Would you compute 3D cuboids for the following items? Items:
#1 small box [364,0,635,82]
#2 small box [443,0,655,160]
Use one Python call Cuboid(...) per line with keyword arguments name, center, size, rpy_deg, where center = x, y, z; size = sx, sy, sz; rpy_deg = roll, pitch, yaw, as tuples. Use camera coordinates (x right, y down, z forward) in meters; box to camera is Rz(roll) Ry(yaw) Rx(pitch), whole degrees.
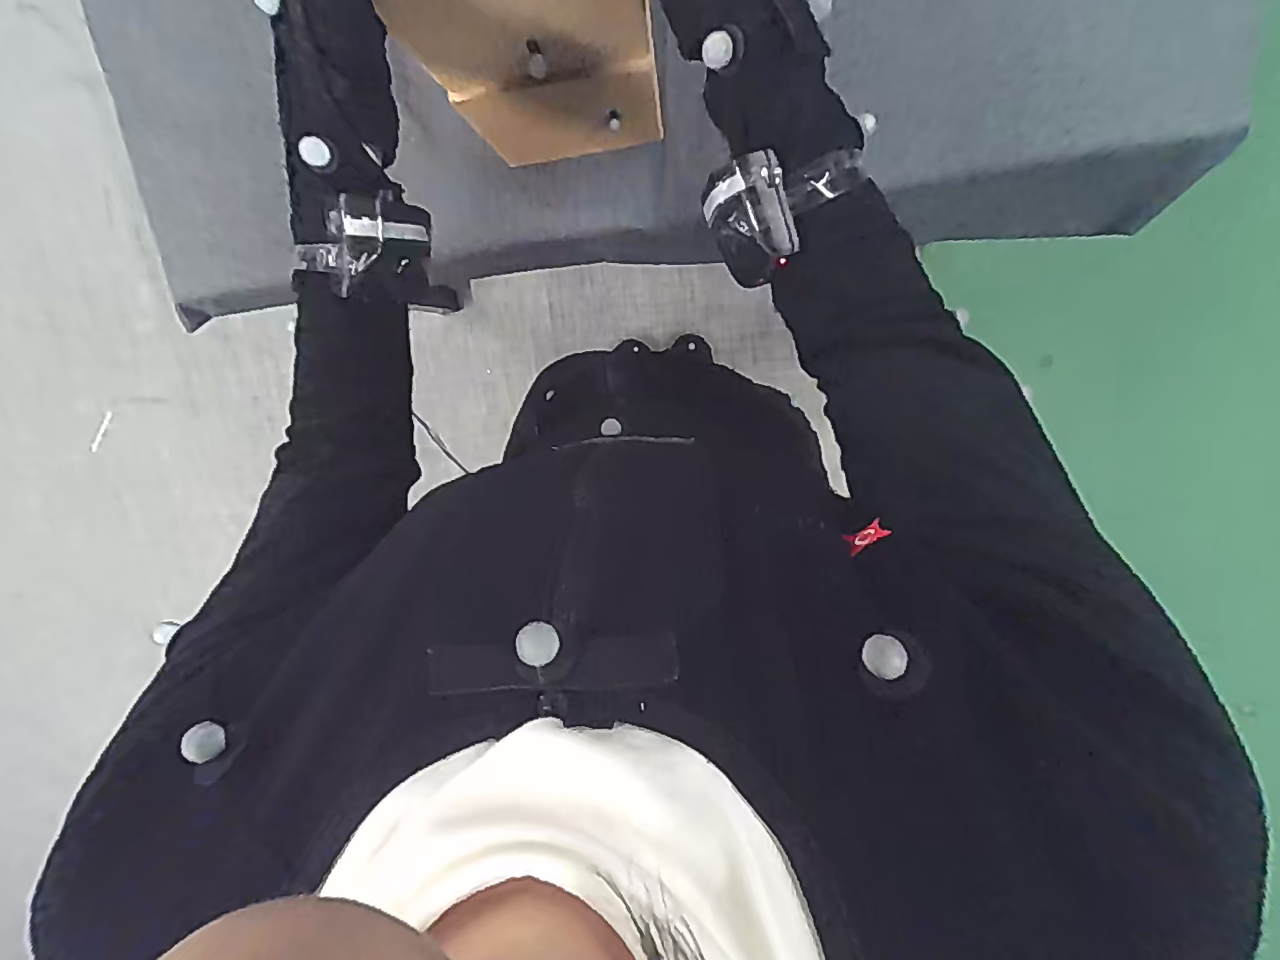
Cuboid(name="small box", center=(-0.098, -0.397, 0.347), size=(0.179, 0.176, 0.168), rpy_deg=(-6, 101, 6))
Cuboid(name="small box", center=(-0.081, -0.428, 0.508), size=(0.179, 0.176, 0.168), rpy_deg=(-6, 102, 8))
